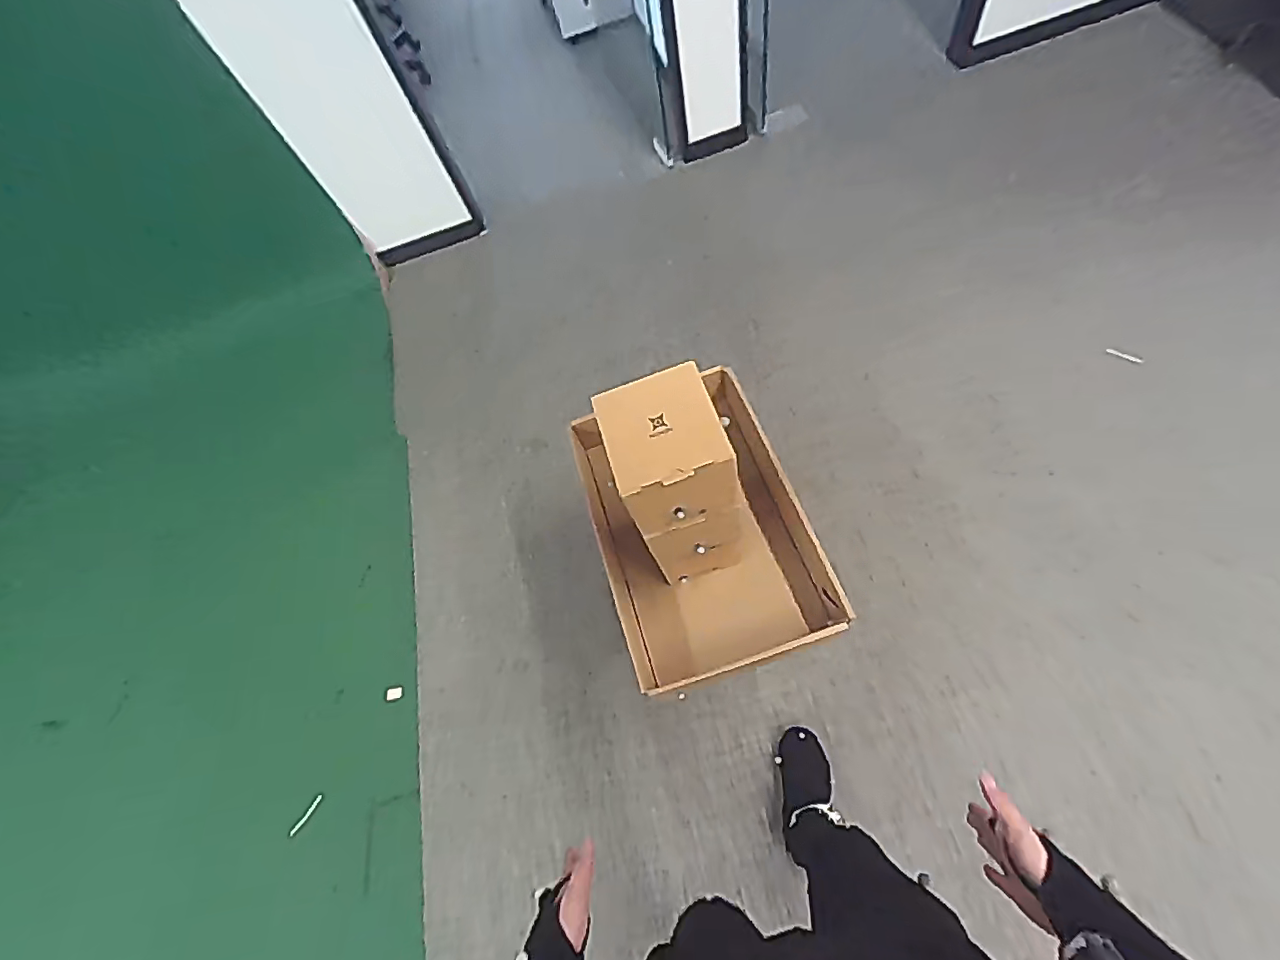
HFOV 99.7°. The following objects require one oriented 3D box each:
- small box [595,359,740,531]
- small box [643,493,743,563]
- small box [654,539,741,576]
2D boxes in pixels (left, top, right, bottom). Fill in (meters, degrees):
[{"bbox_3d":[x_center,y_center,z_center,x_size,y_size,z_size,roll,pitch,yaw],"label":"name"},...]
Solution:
[{"bbox_3d":[0.045,-0.046,0.826,0.168,0.176,0.179,-19,63,2],"label":"small box"},{"bbox_3d":[0.078,0.026,0.967,0.168,0.176,0.179,-20,63,3],"label":"small box"},{"bbox_3d":[0.105,0.087,1.119,0.168,0.176,0.179,-18,62,2],"label":"small box"}]
